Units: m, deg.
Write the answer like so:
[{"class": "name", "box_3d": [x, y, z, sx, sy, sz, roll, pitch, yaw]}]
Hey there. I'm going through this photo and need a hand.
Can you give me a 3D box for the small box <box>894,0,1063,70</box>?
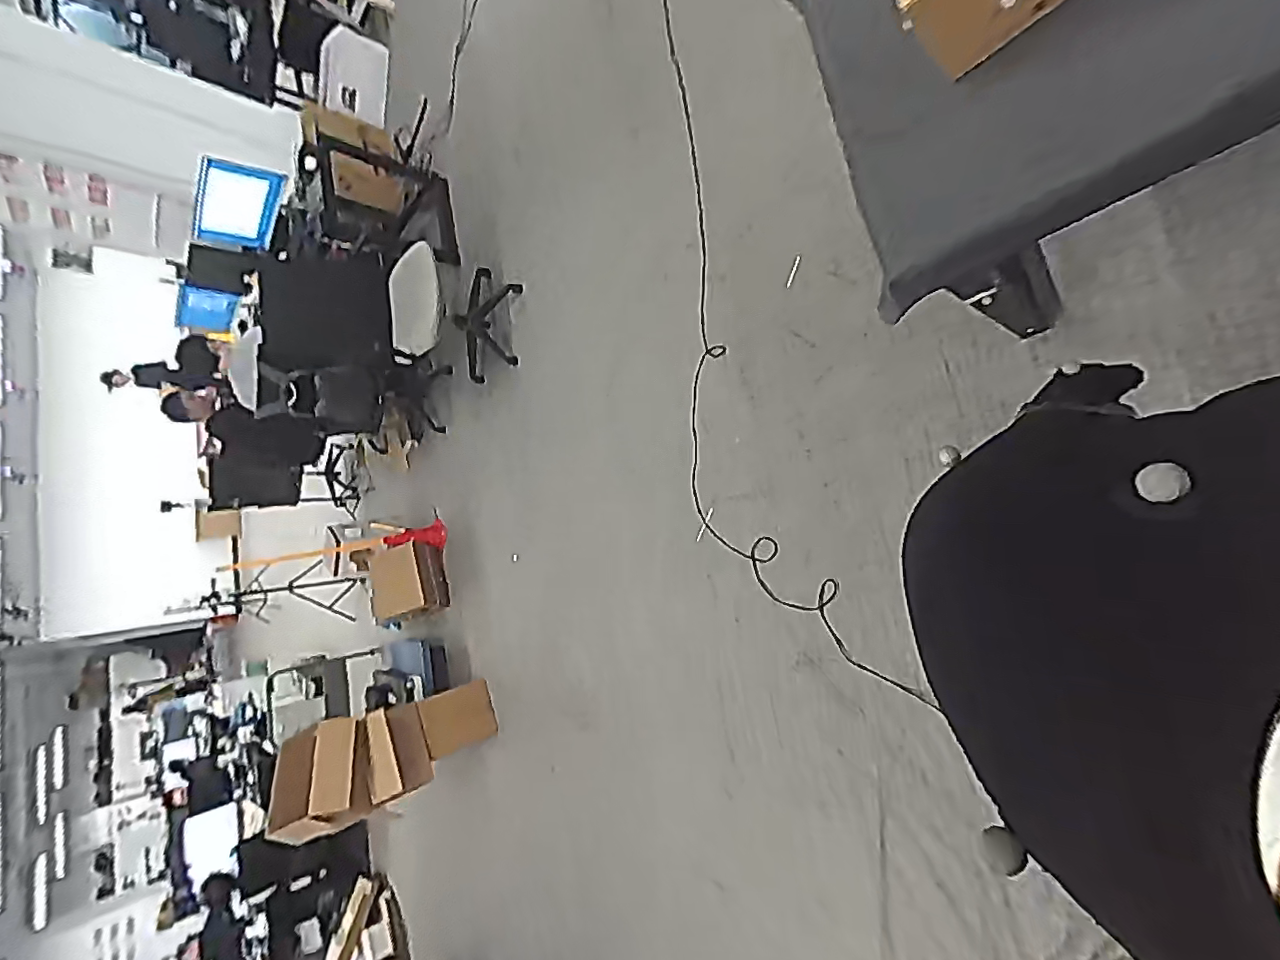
[{"class": "small box", "box_3d": [0.383, -0.613, 0.608, 0.168, 0.176, 0.179, -23, 75, 45]}]
